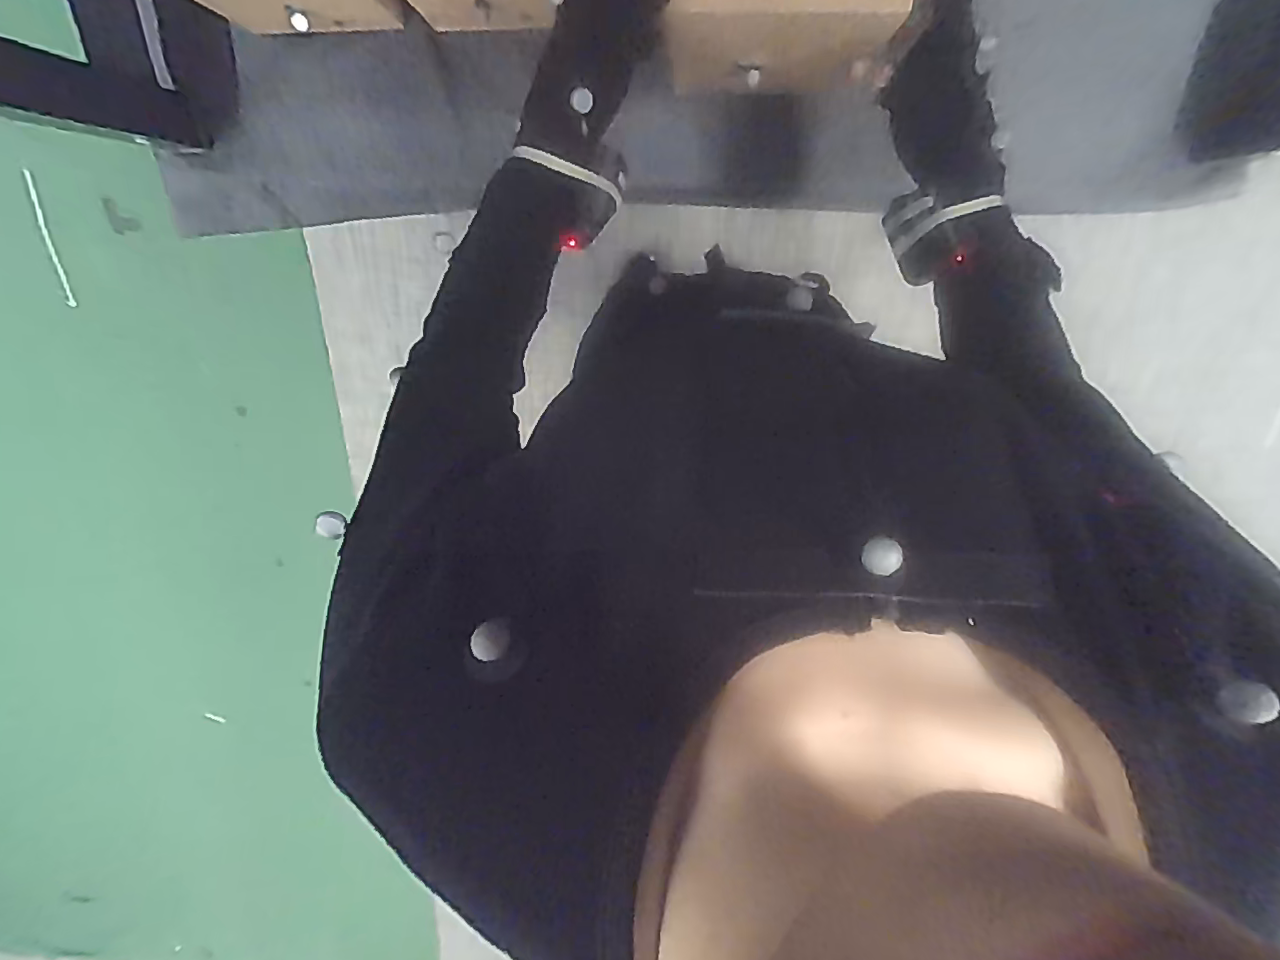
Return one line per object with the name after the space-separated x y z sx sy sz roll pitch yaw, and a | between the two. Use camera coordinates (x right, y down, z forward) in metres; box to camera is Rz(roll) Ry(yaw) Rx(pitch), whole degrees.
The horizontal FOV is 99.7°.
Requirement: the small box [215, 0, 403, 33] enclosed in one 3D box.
-0.328 -0.521 0.459 0.168 0.176 0.179 0 113 3 | small box
